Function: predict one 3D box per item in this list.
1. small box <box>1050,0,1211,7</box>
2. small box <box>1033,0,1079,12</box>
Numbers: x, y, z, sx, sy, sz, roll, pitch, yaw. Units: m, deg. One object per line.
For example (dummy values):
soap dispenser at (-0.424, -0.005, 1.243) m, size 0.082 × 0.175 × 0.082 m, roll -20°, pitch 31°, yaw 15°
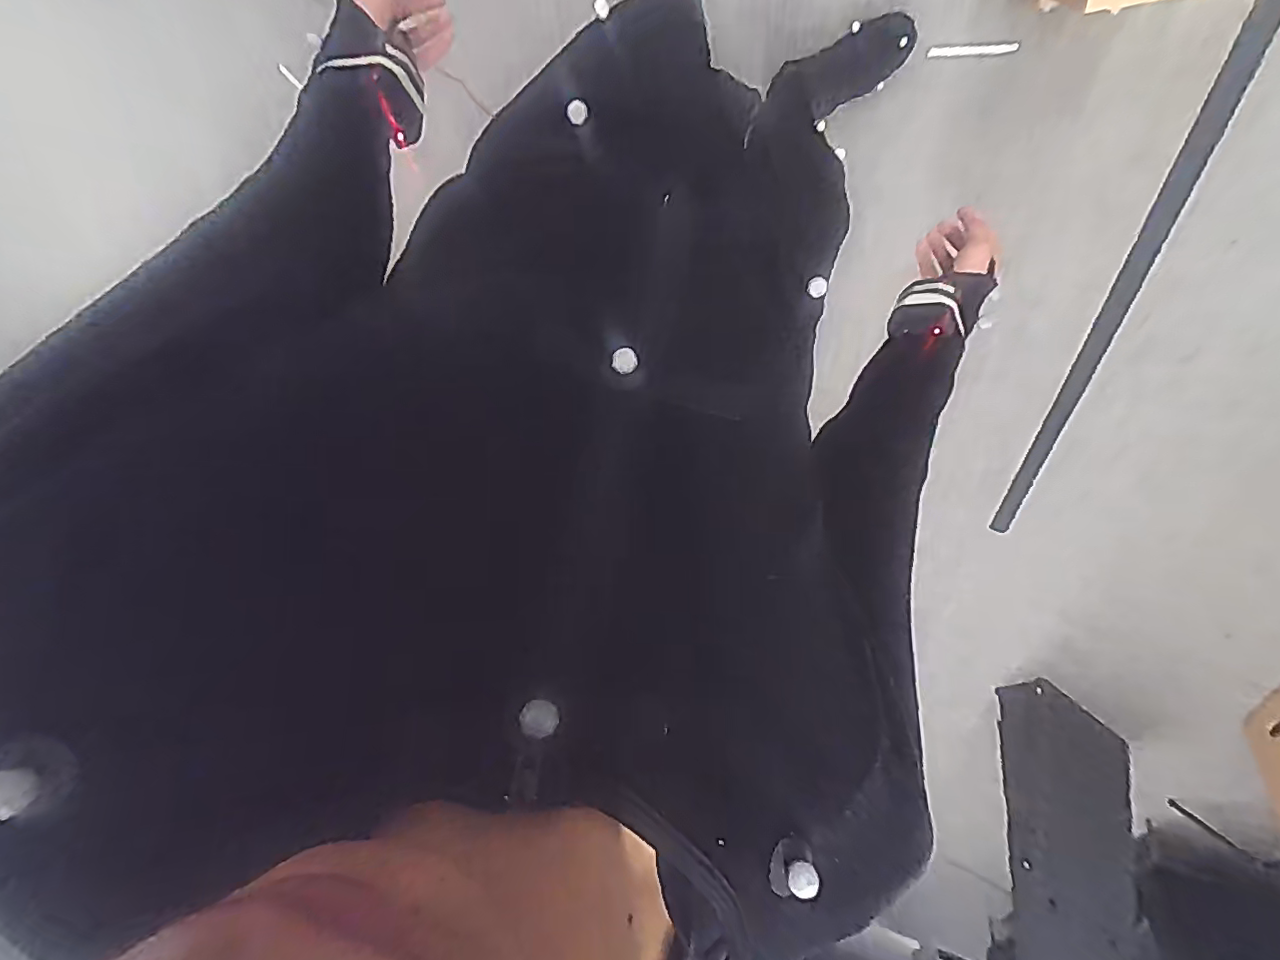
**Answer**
small box at (0.675, -0.739, 0.709) m, size 0.179 × 0.176 × 0.168 m, roll 13°, pitch 136°, yaw 18°
small box at (0.723, -0.845, 0.823) m, size 0.168 × 0.176 × 0.179 m, roll 10°, pitch 134°, yaw 20°
